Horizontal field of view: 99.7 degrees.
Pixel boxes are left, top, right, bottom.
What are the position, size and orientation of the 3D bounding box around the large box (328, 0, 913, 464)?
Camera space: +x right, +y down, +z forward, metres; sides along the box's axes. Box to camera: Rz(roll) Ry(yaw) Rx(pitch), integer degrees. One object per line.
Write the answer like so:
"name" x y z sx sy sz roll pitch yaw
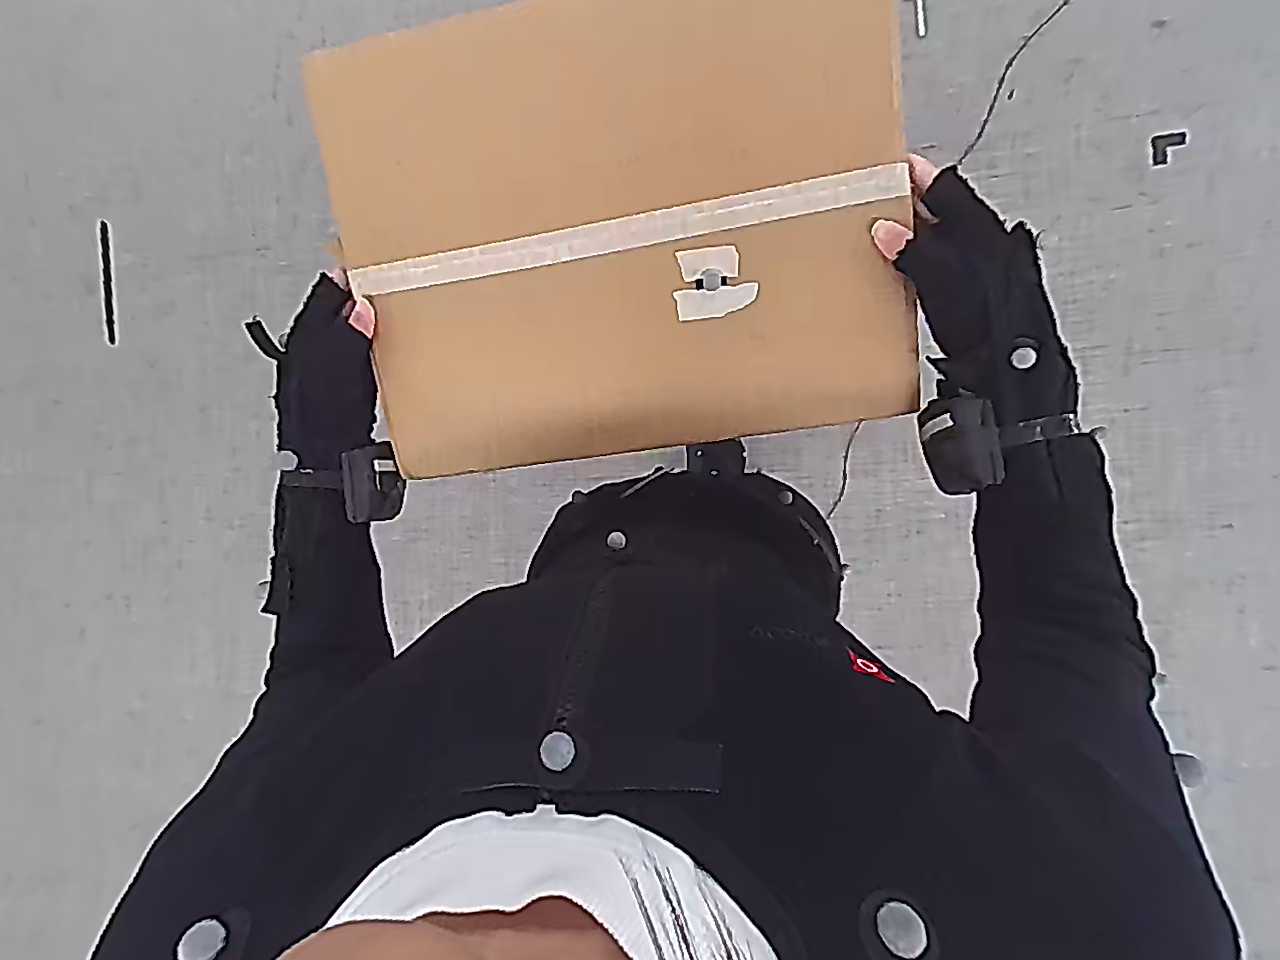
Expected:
"large box" -0.002 -0.218 0.546 0.408 0.320 0.320 -8 102 7
